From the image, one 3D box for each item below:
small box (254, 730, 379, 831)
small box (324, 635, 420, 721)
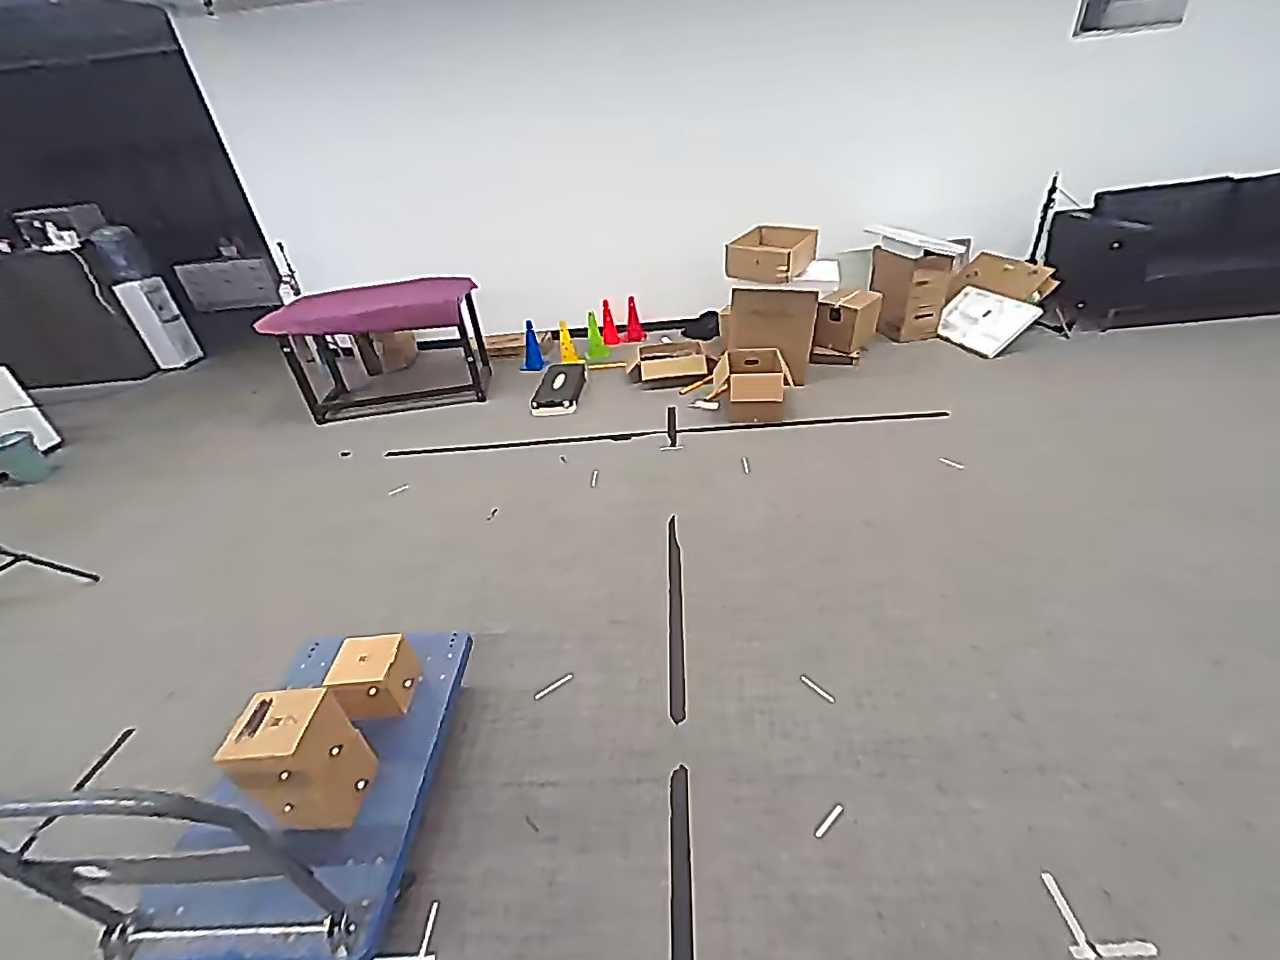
[{"bbox_3d":[-0.787,0.742,1.335,0.179,0.176,0.168,-2,34,5],"label":"small box"},{"bbox_3d":[-0.775,0.582,1.582,0.179,0.176,0.168,-6,33,0],"label":"small box"}]
